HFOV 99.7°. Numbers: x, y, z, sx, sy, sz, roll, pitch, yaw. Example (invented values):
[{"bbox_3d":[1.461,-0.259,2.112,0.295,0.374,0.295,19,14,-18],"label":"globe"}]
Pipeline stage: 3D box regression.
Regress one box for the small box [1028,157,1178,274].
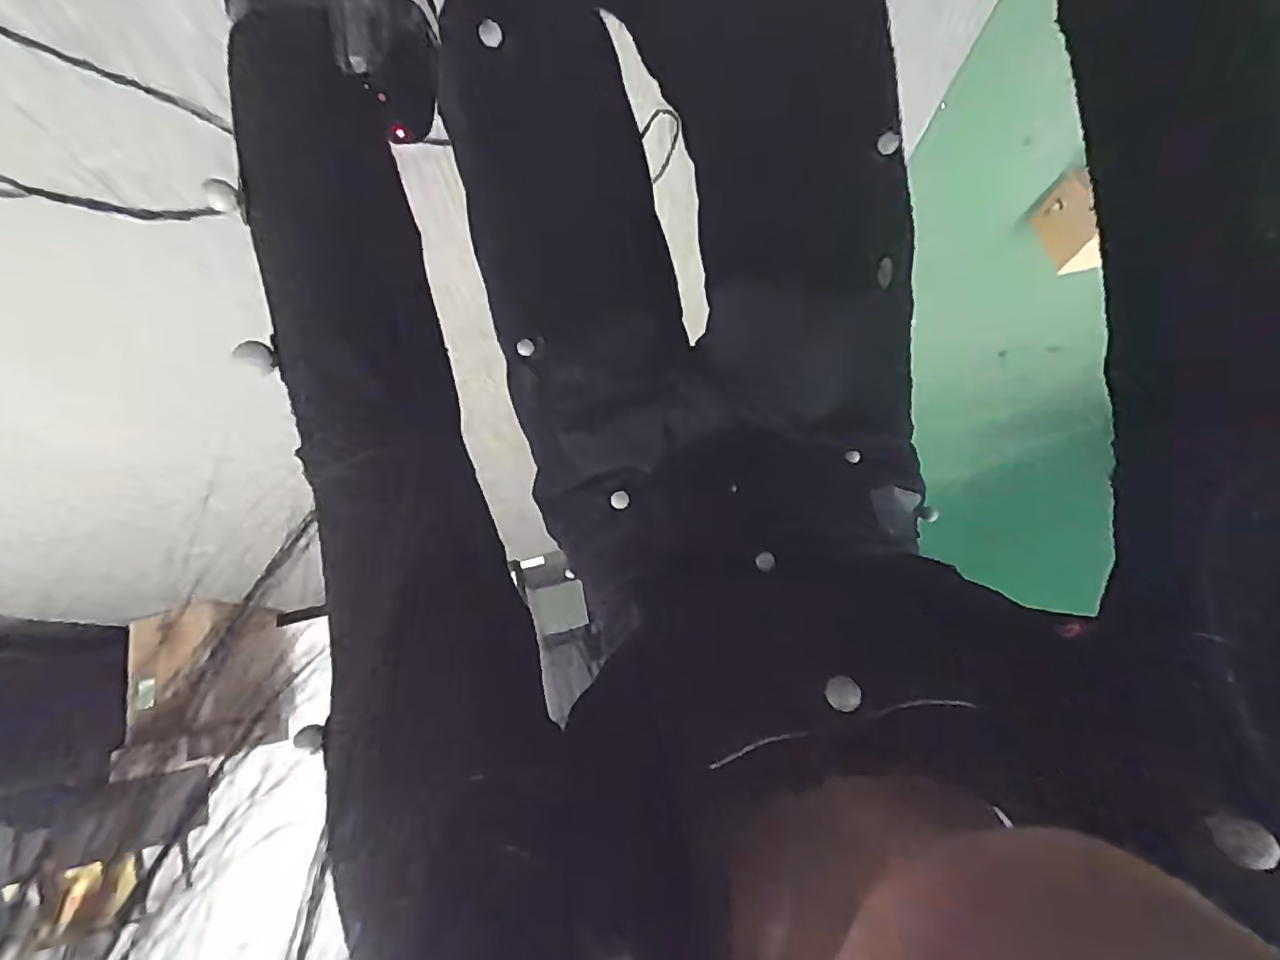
[{"bbox_3d":[1.076,-0.625,1.272,0.179,0.176,0.168,-14,162,-1],"label":"small box"}]
